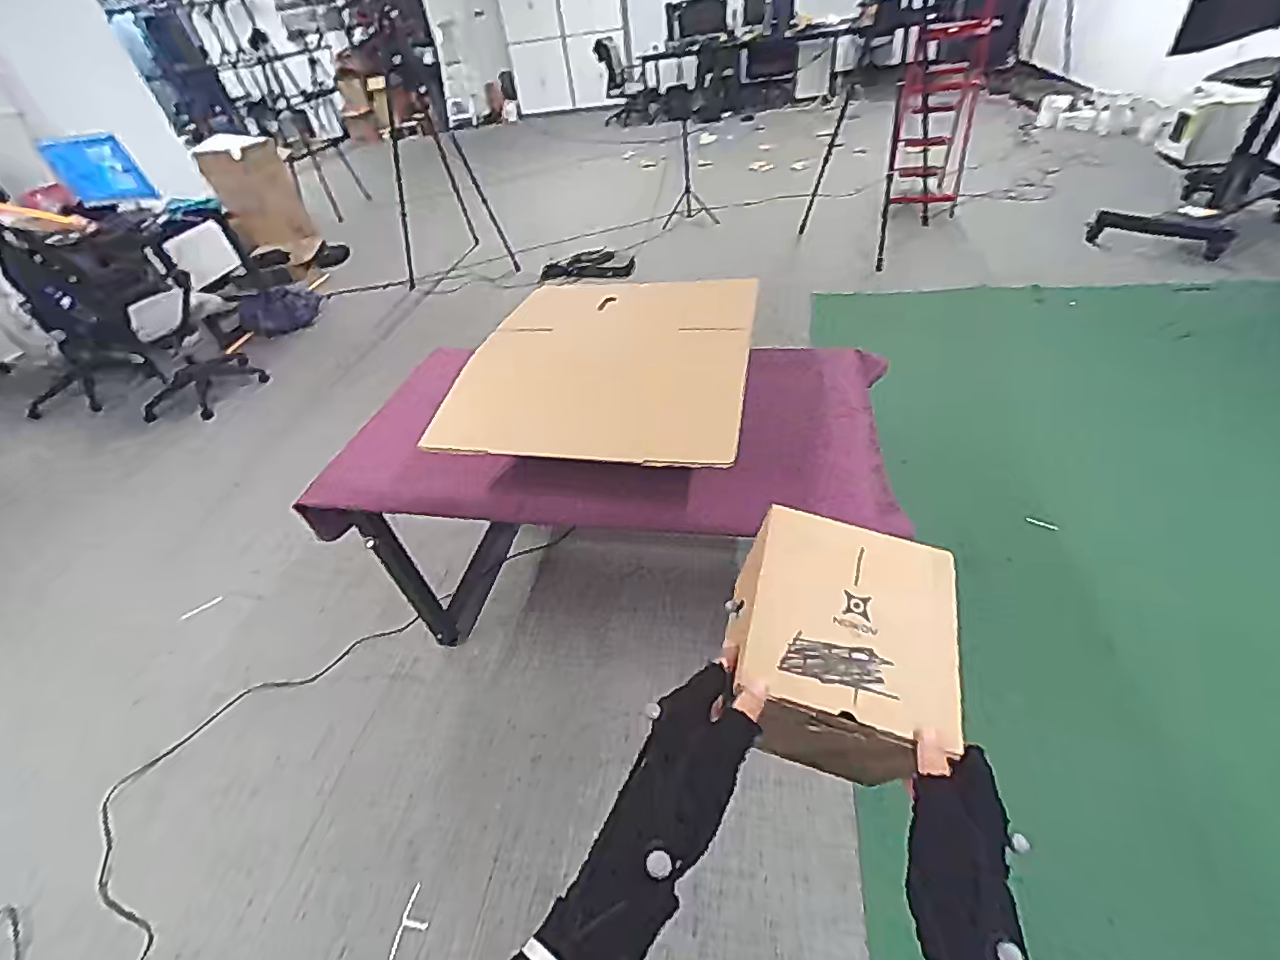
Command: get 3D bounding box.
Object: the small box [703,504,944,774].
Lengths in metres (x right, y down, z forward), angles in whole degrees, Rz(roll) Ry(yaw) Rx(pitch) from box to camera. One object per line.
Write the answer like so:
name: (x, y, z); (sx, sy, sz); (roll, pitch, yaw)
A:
small box: (0.162, 0.155, 0.511); (0.168, 0.176, 0.179); (15, 54, 7)
